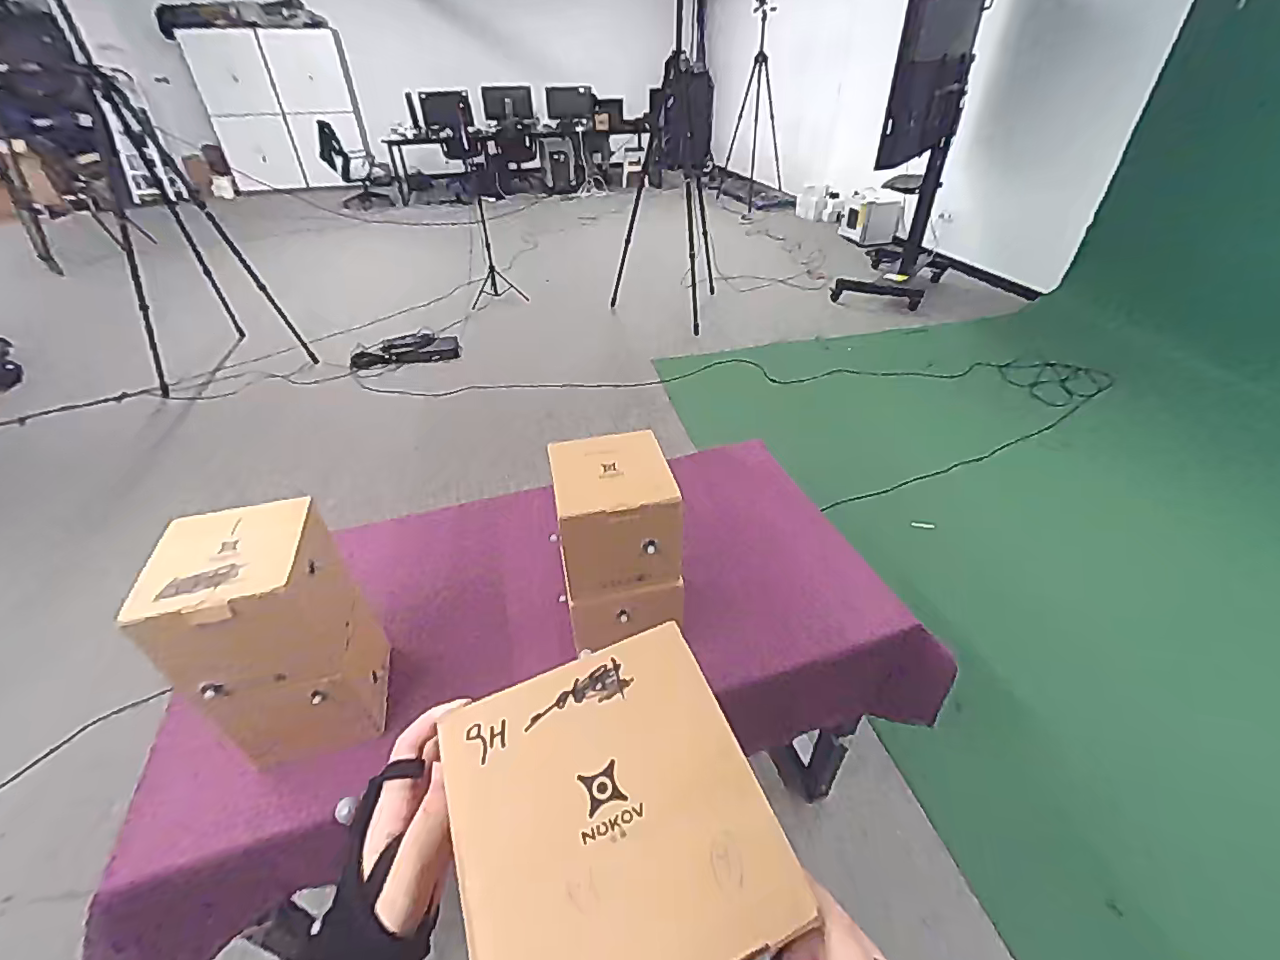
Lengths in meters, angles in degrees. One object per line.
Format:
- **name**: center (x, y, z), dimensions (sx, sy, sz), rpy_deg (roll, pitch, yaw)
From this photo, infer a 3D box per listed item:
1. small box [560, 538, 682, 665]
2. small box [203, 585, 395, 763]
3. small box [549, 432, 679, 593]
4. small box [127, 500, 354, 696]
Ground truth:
- **small box**: center (-0.031, 0.186, 0.908), dimensions (0.179, 0.176, 0.168), rpy_deg (-9, 39, -8)
- **small box**: center (-0.487, 0.288, 0.805), dimensions (0.179, 0.176, 0.168), rpy_deg (-11, 39, -12)
- **small box**: center (-0.040, 0.052, 0.815), dimensions (0.168, 0.176, 0.179), rpy_deg (-9, 38, -9)
- **small box**: center (-0.494, 0.156, 0.707), dimensions (0.168, 0.176, 0.179), rpy_deg (-12, 38, -13)
